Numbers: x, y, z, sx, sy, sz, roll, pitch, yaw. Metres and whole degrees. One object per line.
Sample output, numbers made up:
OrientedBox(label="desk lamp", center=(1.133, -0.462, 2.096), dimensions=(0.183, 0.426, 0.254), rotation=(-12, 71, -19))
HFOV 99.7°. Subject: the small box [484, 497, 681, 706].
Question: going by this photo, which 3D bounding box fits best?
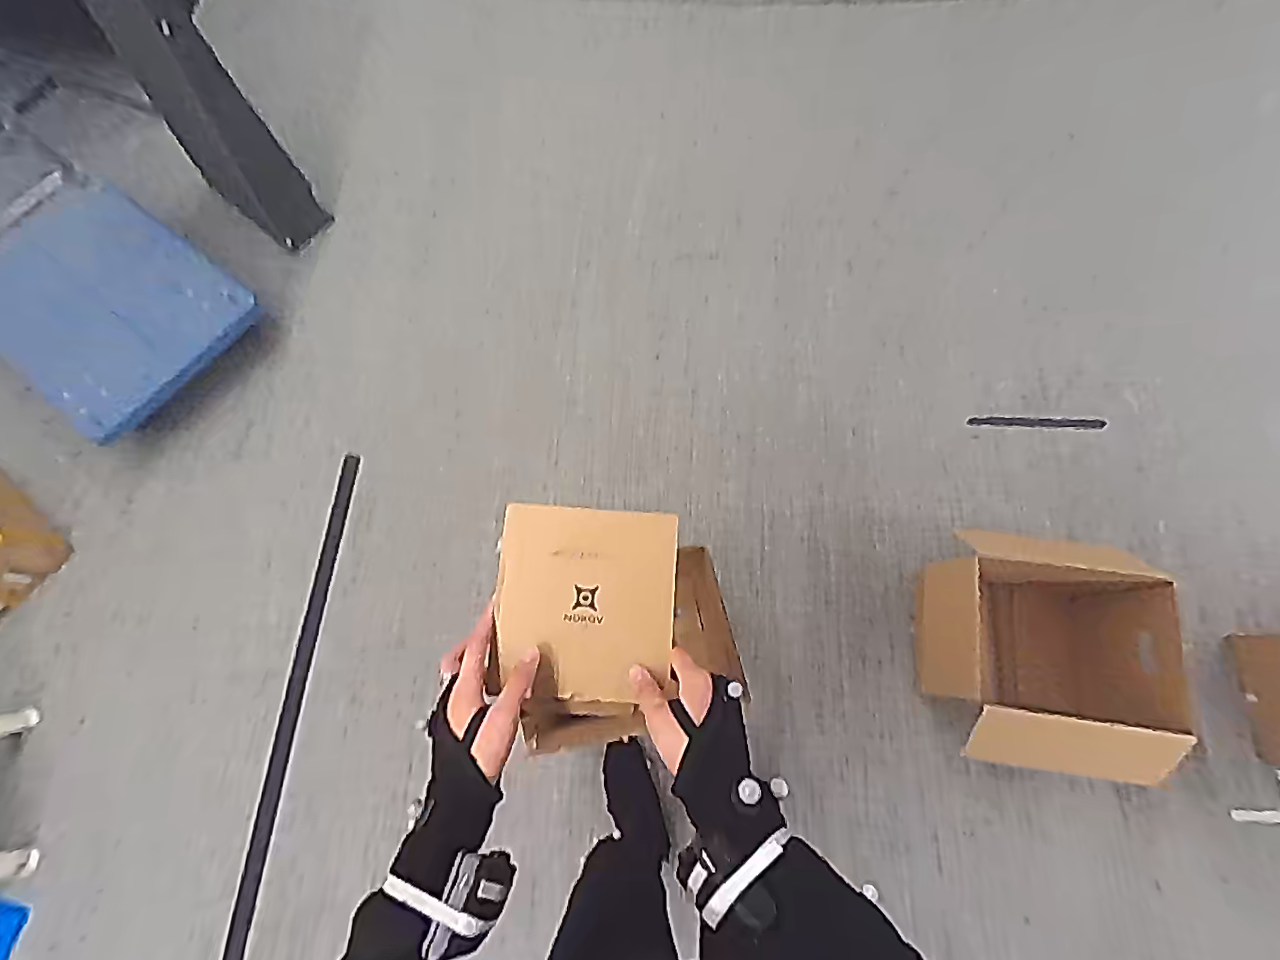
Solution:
OrientedBox(label="small box", center=(-0.053, 0.122, 0.569), dimensions=(0.168, 0.176, 0.179), rotation=(5, 79, -3))
